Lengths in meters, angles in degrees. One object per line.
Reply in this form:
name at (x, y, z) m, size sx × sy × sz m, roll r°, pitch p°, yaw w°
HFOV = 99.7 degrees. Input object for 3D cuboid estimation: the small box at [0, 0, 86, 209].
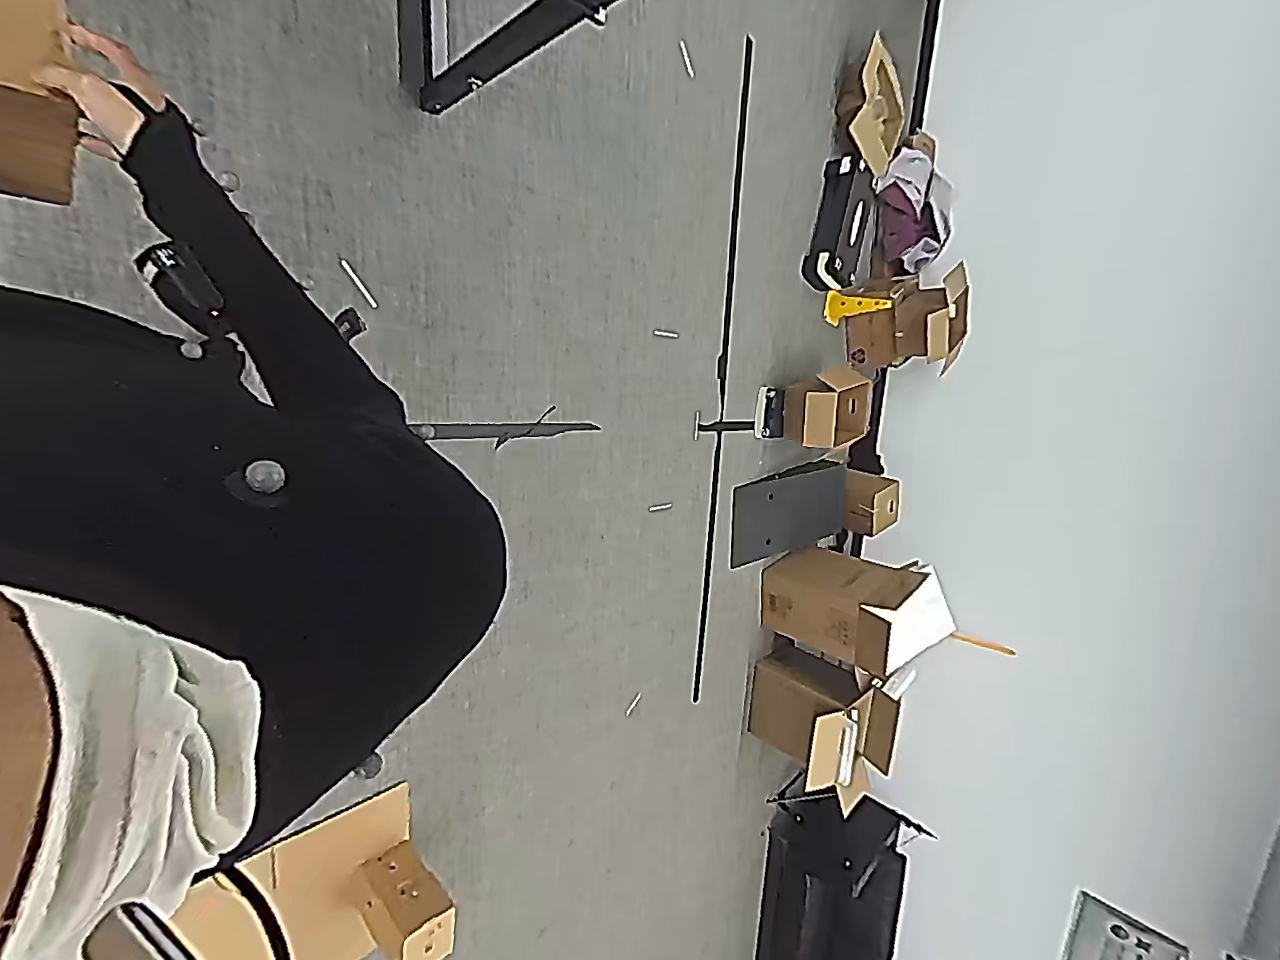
small box at (-0.571, -0.356, 0.427) m, size 0.168 × 0.176 × 0.179 m, roll -8°, pitch 86°, yaw -49°

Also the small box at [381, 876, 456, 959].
small box at (-0.699, 1.413, 1.700) m, size 0.168 × 0.176 × 0.179 m, roll -3°, pitch 102°, yaw -47°

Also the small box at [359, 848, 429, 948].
small box at (-0.824, 1.378, 1.804) m, size 0.168 × 0.176 × 0.179 m, roll -5°, pitch 103°, yaw -46°
